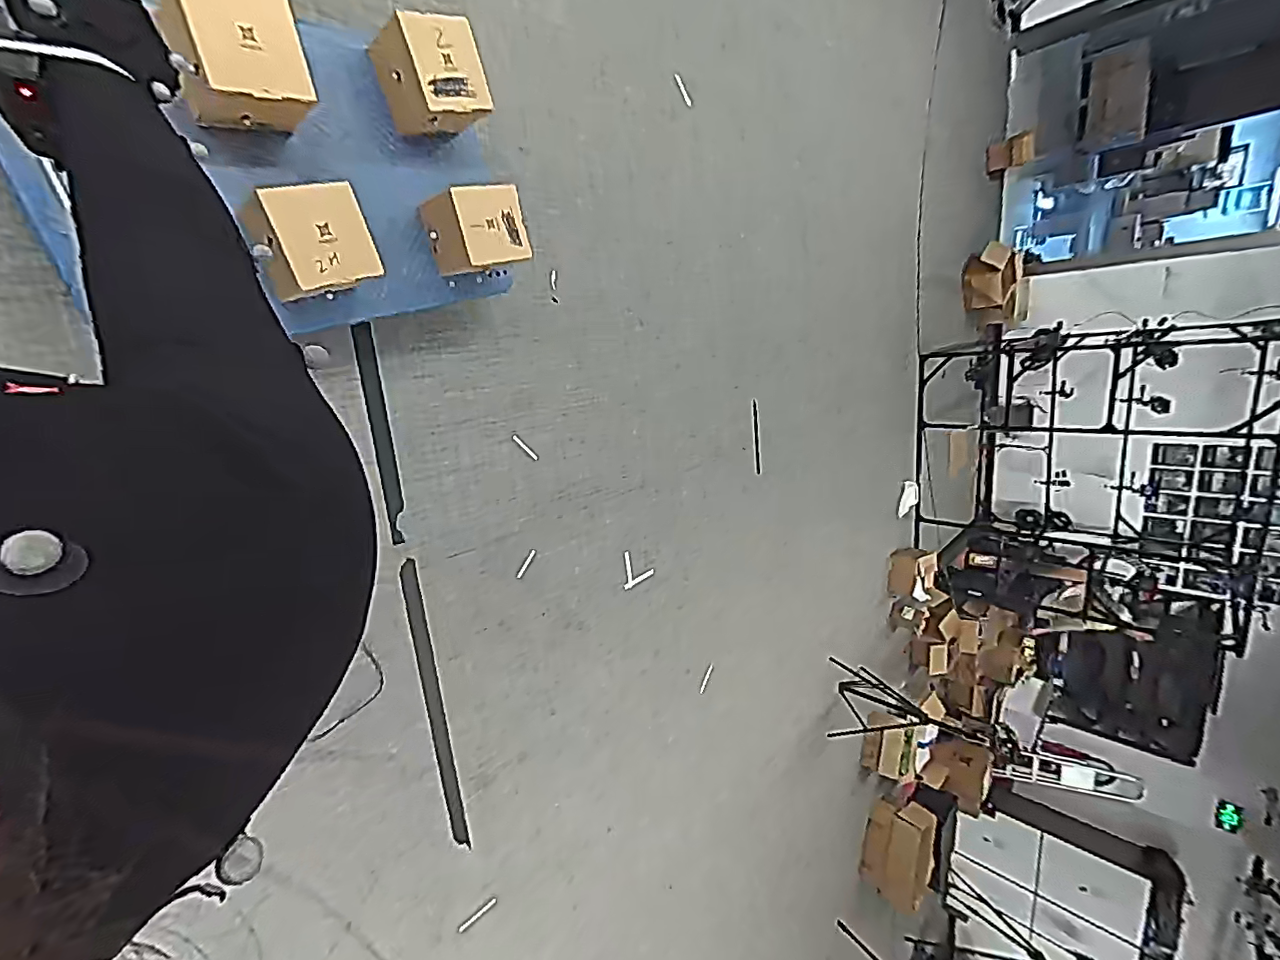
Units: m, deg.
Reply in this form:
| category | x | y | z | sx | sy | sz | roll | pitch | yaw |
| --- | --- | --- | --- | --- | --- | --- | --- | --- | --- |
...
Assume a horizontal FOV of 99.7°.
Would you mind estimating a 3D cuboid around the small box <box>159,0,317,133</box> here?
| category | x | y | z | sx | sy | sz | roll | pitch | yaw |
| --- | --- | --- | --- | --- | --- | --- | --- | --- | --- |
| small box | -0.717 | -0.750 | 0.965 | 0.168 | 0.176 | 0.179 | -27 | 116 | -41 |

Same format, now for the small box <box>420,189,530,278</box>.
| category | x | y | z | sx | sy | sz | roll | pitch | yaw |
| --- | --- | --- | --- | --- | --- | --- | --- | --- | --- |
| small box | -0.401 | -0.598 | 1.316 | 0.179 | 0.176 | 0.168 | -28 | 115 | -39 |

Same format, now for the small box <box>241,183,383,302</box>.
| category | x | y | z | sx | sy | sz | roll | pitch | yaw |
| --- | --- | --- | --- | --- | --- | --- | --- | --- | --- |
| small box | -0.653 | -0.467 | 1.074 | 0.168 | 0.176 | 0.179 | -32 | 118 | -38 |
